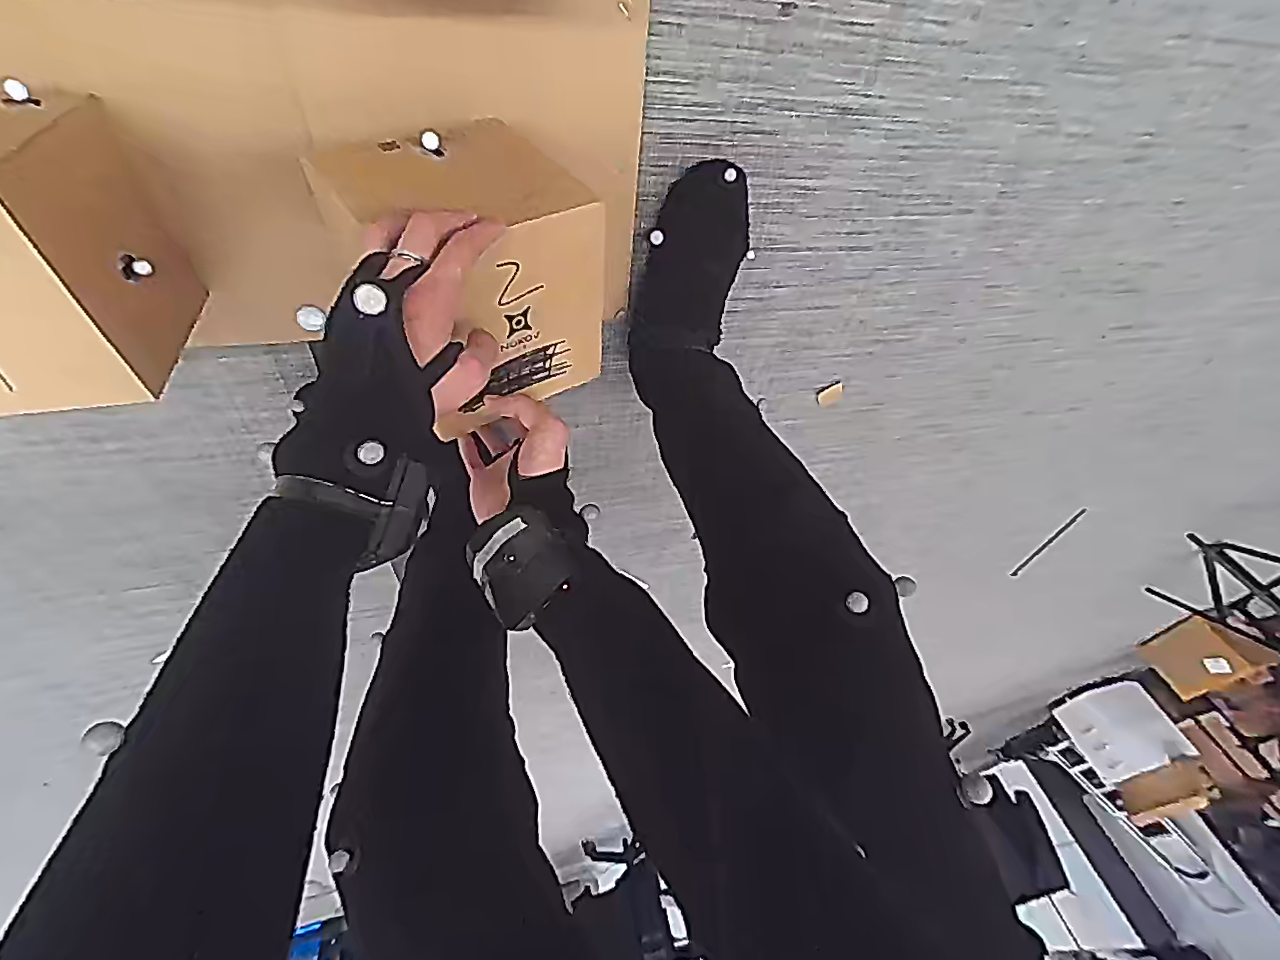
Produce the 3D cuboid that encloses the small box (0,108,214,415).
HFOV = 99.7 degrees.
[{"bbox_3d":[-0.482,-0.173,0.422,0.168,0.176,0.179,-8,140,-12],"label":"small box"}]
